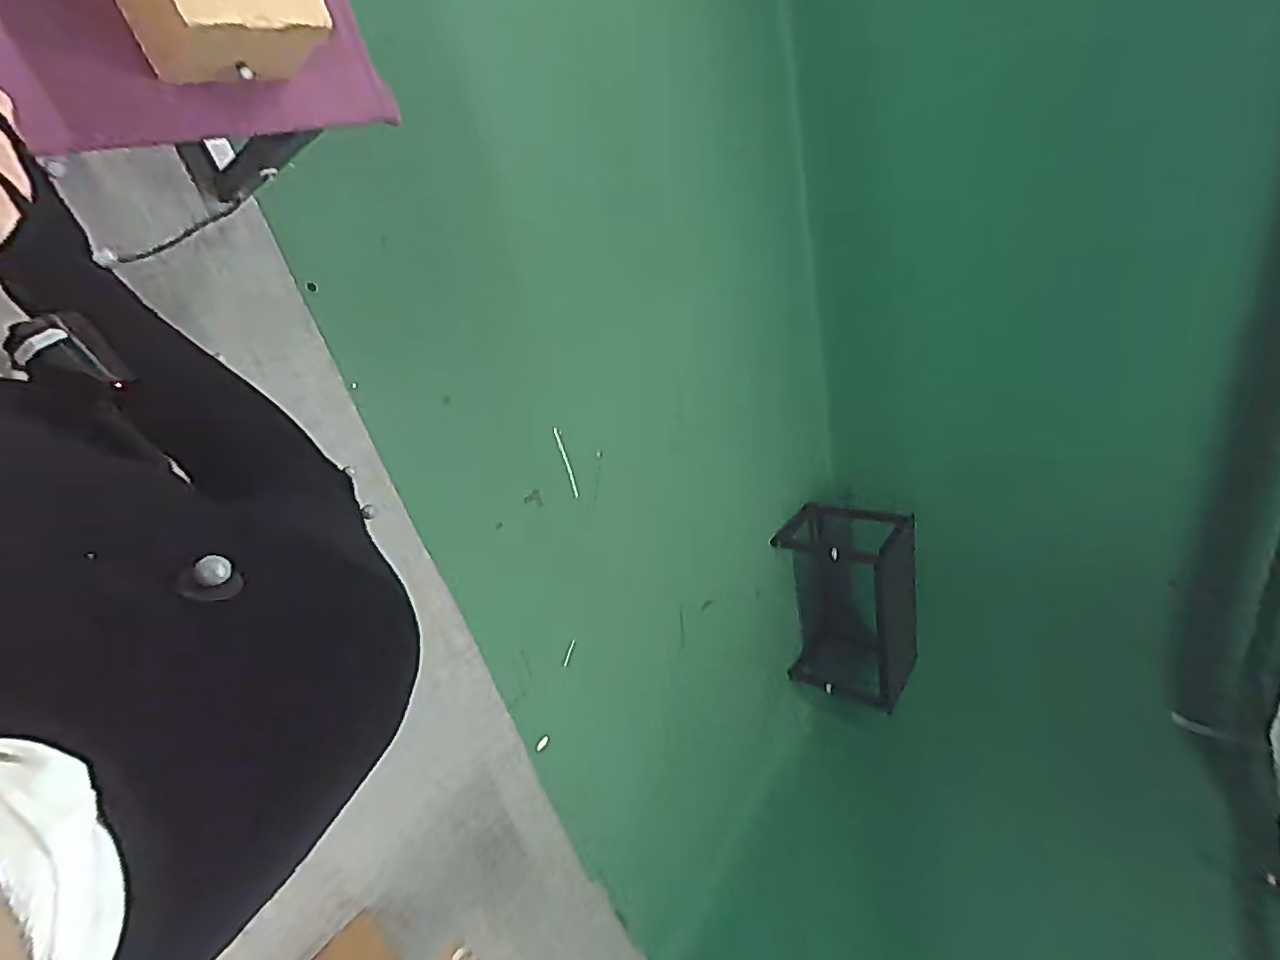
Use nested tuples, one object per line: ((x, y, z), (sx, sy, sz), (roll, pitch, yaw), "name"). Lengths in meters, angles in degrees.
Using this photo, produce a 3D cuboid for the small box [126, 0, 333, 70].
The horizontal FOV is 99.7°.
((-0.505, -0.613, 0.626), (0.168, 0.176, 0.179), (-39, 124, -36), "small box")
